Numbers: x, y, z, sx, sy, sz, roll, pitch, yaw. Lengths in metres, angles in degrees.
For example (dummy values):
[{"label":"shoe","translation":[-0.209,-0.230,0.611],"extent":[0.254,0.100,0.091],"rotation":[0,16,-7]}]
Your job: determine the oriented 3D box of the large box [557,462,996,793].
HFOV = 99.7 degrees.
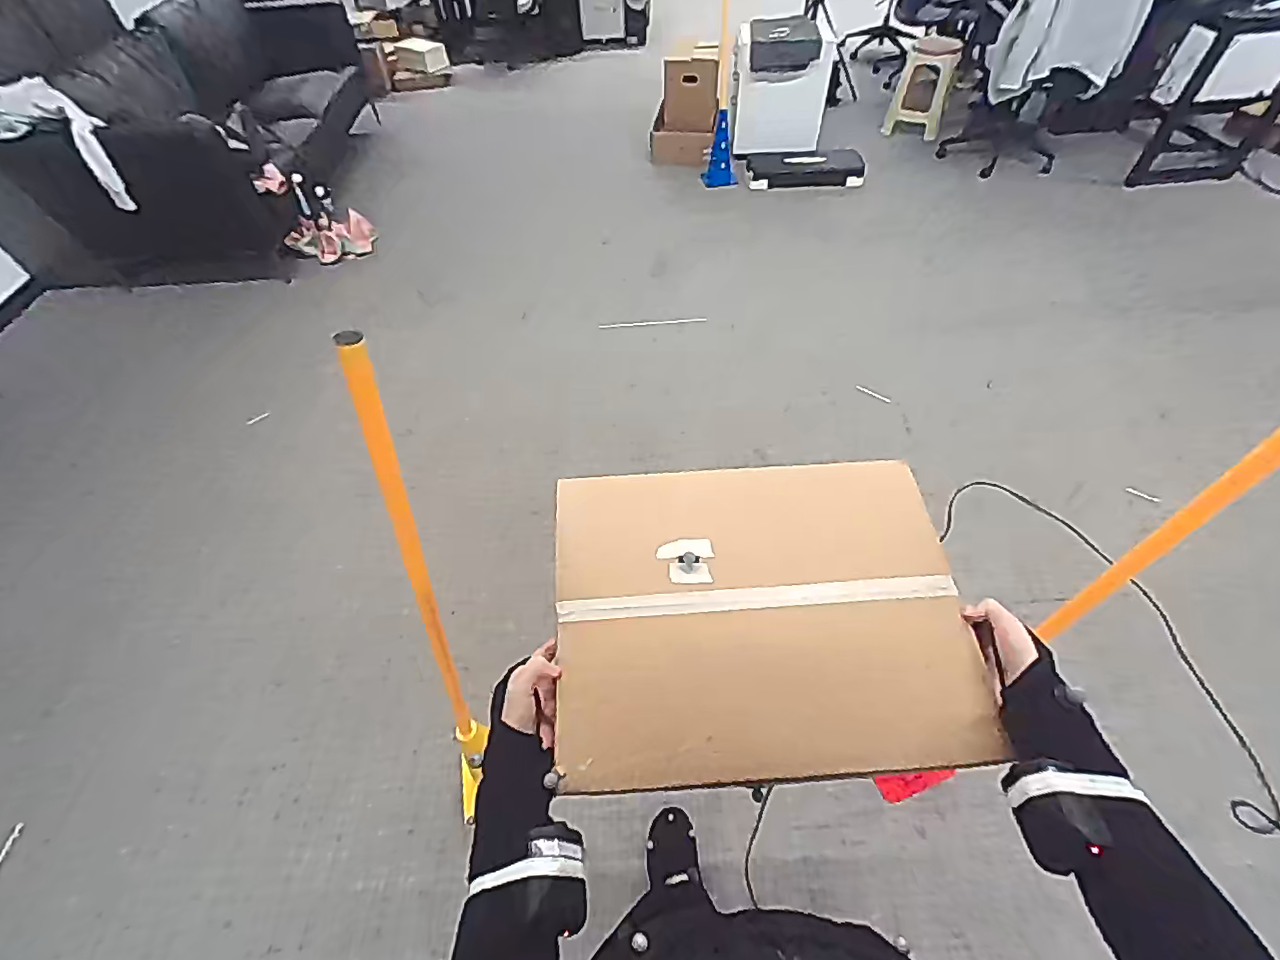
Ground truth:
[{"label":"large box","translation":[0.119,0.201,0.684],"extent":[0.408,0.320,0.320],"rotation":[-4,59,-1]}]
